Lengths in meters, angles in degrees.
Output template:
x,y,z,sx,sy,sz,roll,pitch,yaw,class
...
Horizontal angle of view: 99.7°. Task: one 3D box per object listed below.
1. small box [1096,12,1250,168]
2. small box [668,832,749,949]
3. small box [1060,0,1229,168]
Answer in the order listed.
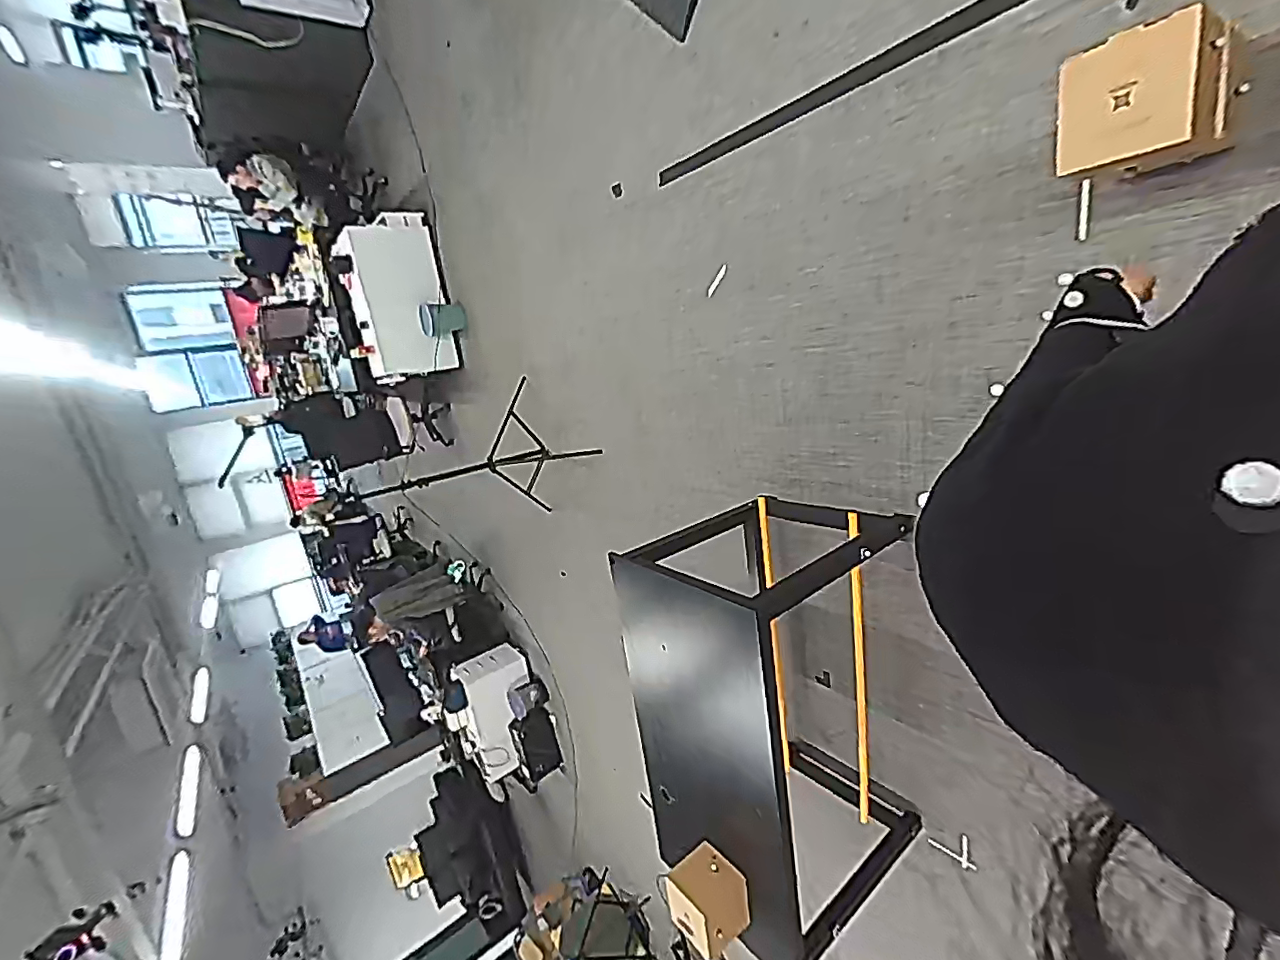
x,y,z,sx,sy,sz,roll,pitch,yaw,class
0.936,-0.673,0.957,0.179,0.176,0.168,9,113,53,small box
0.208,1.203,1.598,0.168,0.176,0.179,12,114,52,small box
0.808,-0.624,0.870,0.168,0.176,0.179,11,116,54,small box
